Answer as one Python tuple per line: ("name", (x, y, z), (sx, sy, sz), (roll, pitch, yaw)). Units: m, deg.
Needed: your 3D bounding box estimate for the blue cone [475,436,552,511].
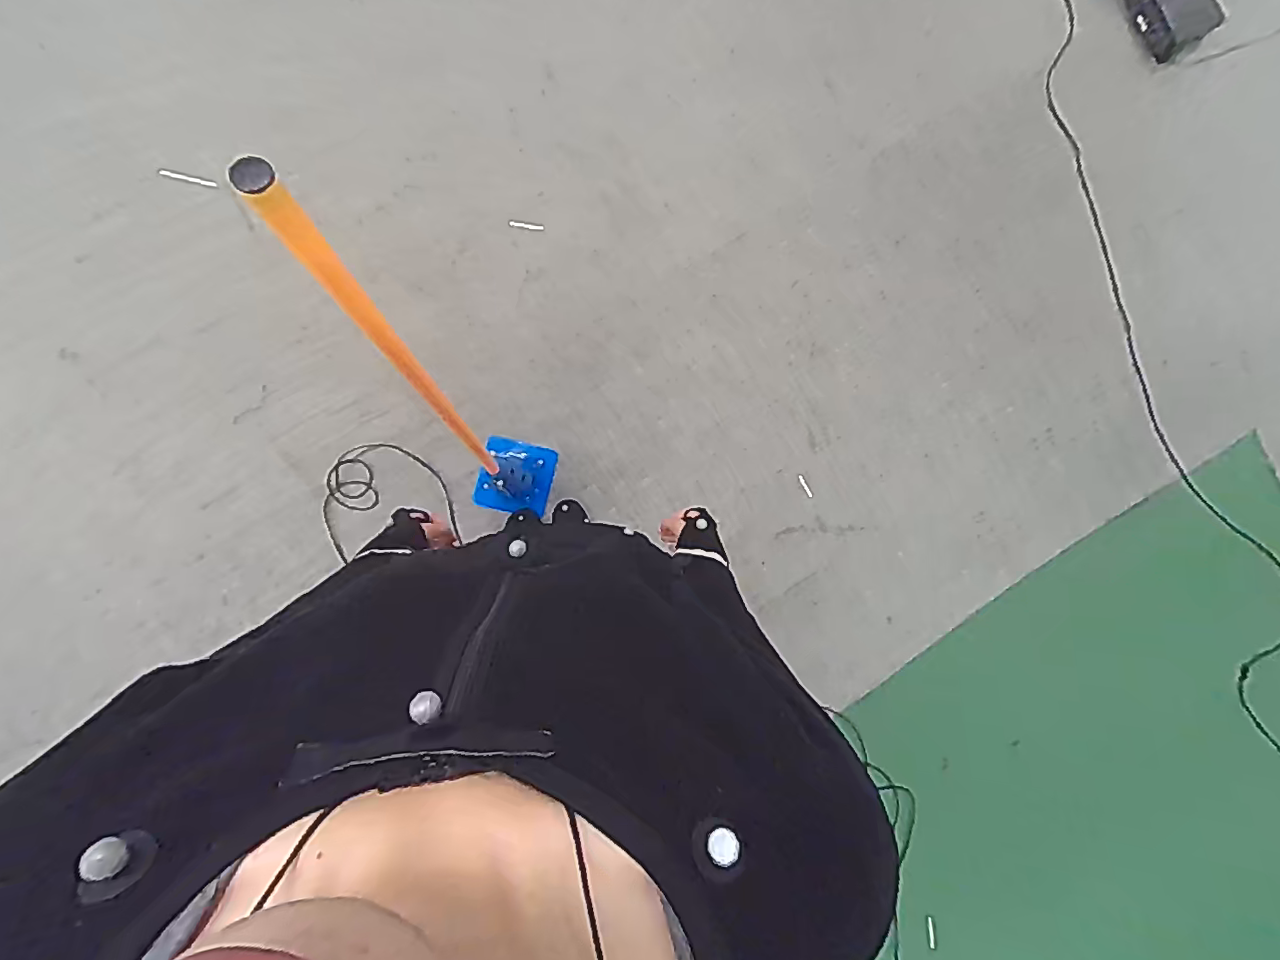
("blue cone", (-0.327, -0.027, 1.308), (0.192, 0.380, 0.193), (12, 86, -5))
